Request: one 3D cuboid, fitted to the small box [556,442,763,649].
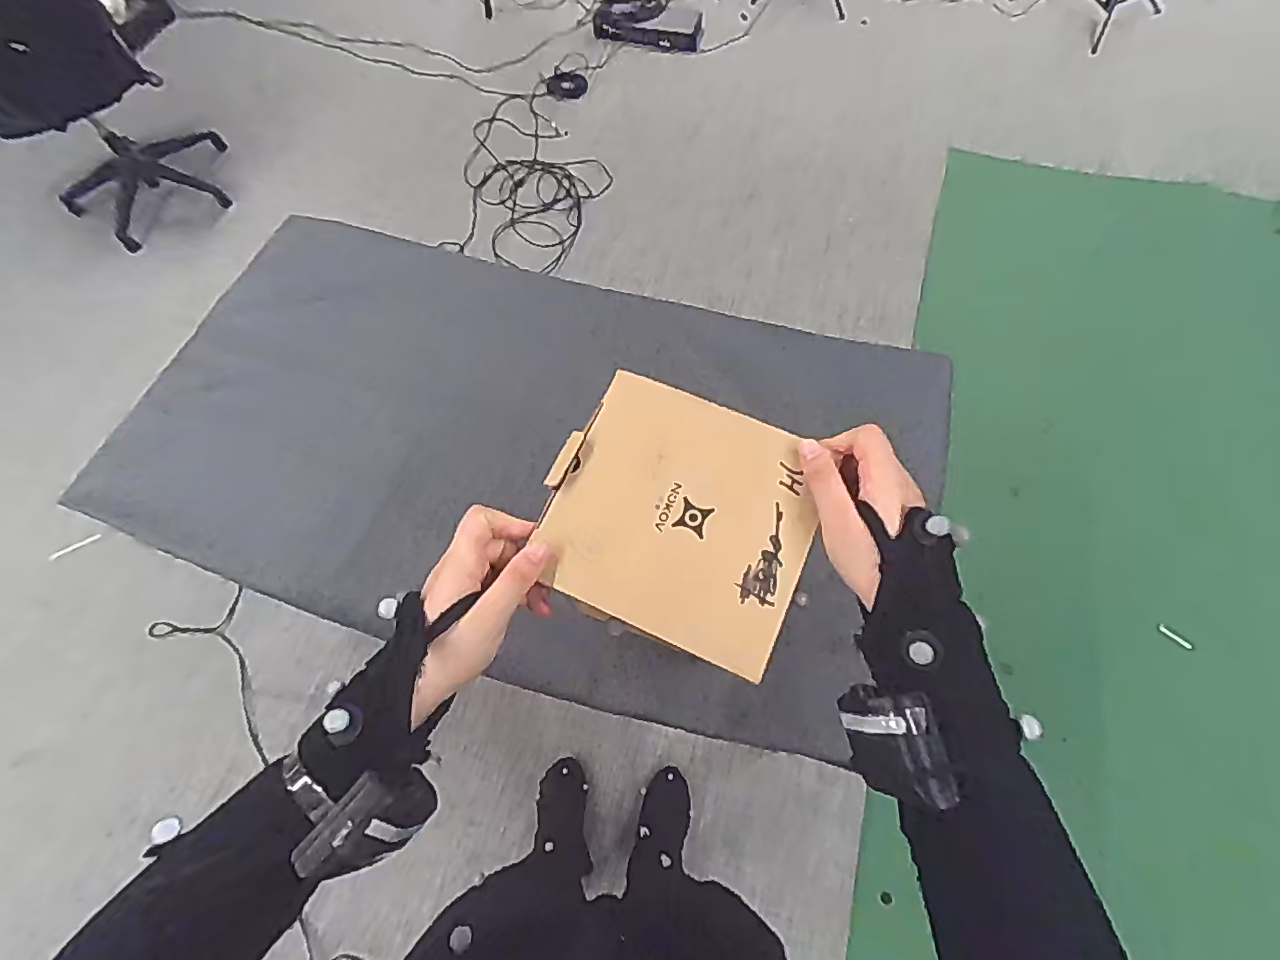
[{"bbox_3d":[0.024,0.086,0.634,0.179,0.176,0.168,19,67,9],"label":"small box"}]
